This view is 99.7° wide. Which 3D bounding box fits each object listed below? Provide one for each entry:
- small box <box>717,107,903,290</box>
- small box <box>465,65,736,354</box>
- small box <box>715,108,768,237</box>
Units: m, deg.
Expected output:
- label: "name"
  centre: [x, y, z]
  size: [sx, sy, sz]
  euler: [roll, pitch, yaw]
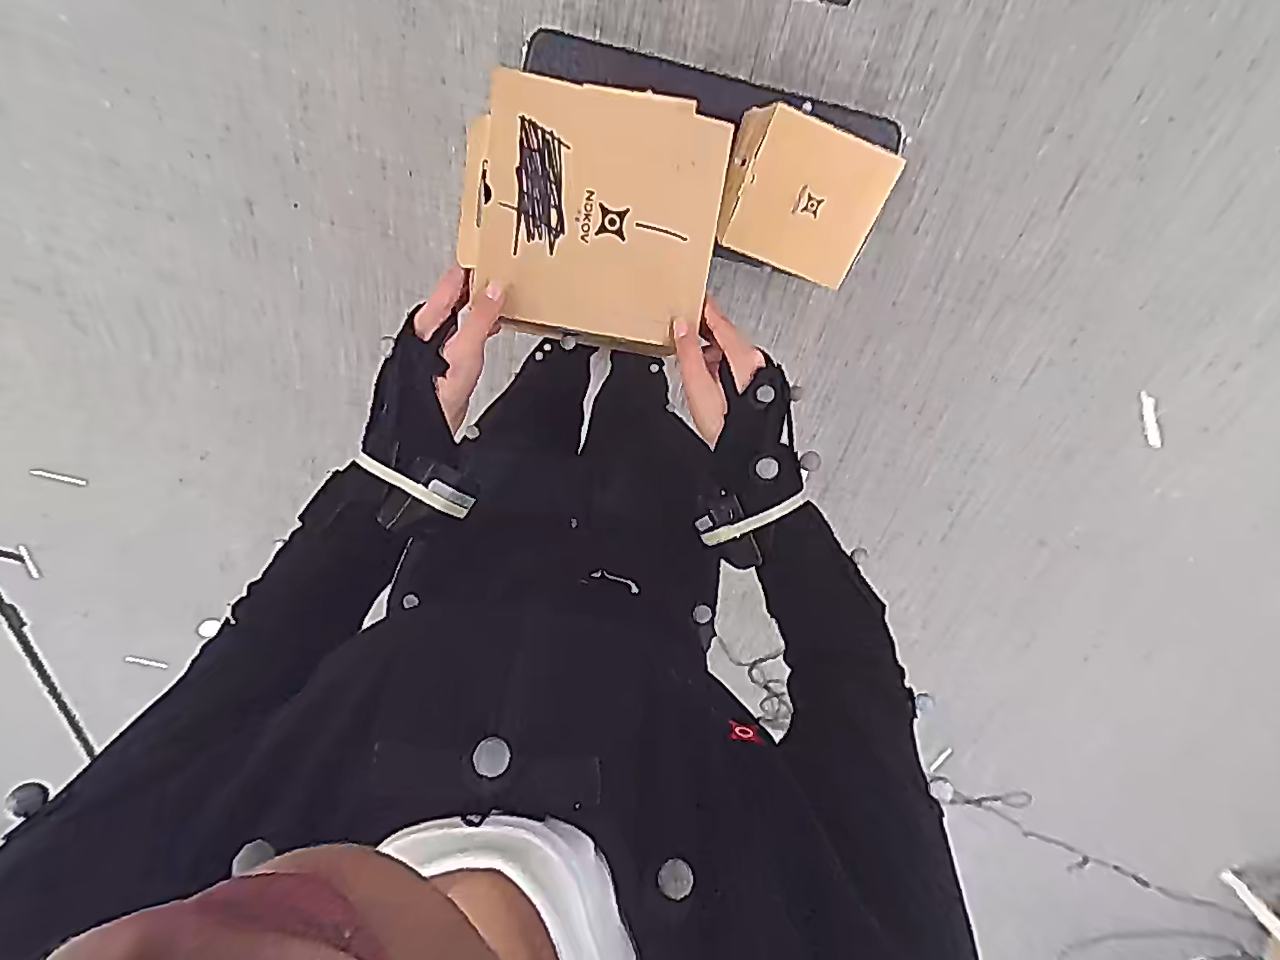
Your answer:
- label: "small box"
  centre: [0.218, -0.390, 0.748]
  size: [0.179, 0.176, 0.168]
  euler: [20, 122, -6]
- label: "small box"
  centre: [-0.038, -0.205, 0.467]
  size: [0.179, 0.176, 0.168]
  euler: [8, 100, -9]
- label: "small box"
  centre: [0.219, -0.478, 0.886]
  size: [0.168, 0.176, 0.179]
  euler: [16, 121, -5]
